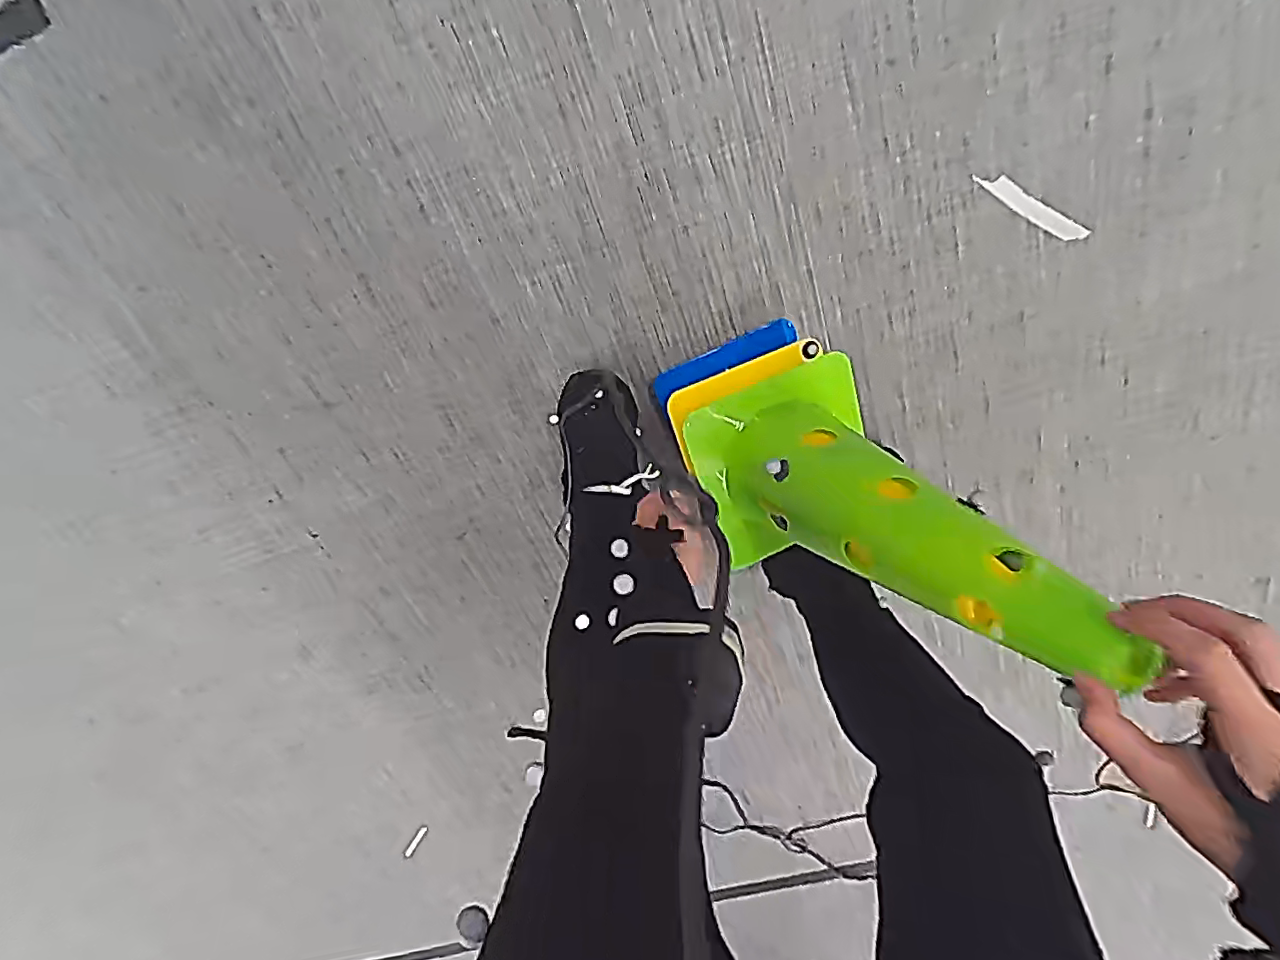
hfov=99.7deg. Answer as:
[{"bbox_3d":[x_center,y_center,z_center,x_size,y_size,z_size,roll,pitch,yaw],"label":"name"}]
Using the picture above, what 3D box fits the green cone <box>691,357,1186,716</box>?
[{"bbox_3d":[0.211,0.041,0.429,0.202,0.368,0.200,-24,113,-7],"label":"green cone"}]
